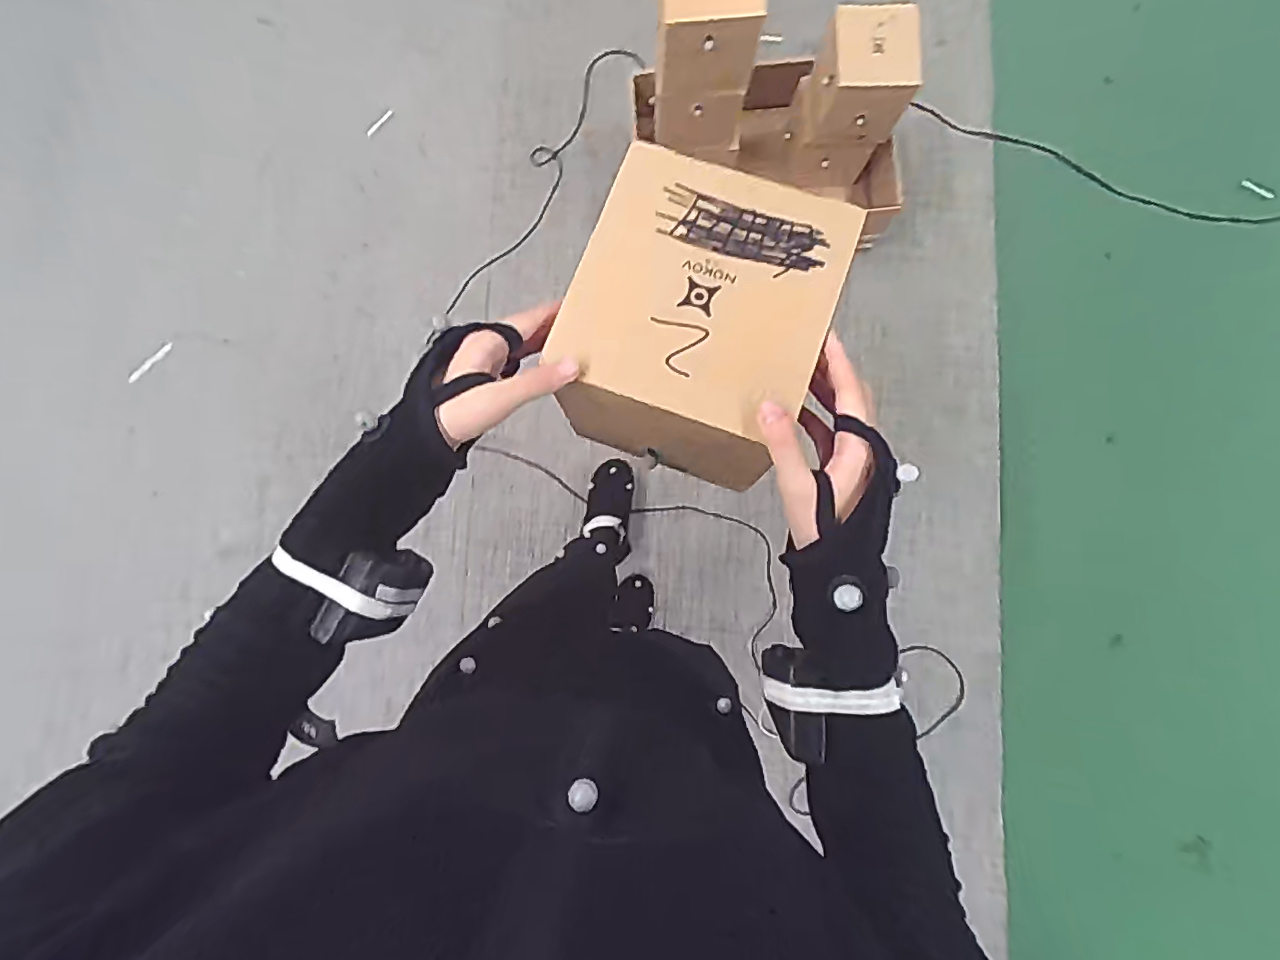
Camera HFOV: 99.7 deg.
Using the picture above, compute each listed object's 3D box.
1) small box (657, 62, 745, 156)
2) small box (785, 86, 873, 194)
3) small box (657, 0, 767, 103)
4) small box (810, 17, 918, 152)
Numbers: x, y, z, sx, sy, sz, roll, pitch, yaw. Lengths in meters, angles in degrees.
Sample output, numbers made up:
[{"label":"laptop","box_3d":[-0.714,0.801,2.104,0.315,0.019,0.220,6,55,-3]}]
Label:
[{"label":"small box","box_3d":[0.125,-0.830,1.167,0.179,0.176,0.168,0,87,-1]},{"label":"small box","box_3d":[0.460,-0.829,1.330,0.179,0.176,0.168,0,85,1]},{"label":"small box","box_3d":[0.126,-0.842,1.006,0.179,0.176,0.168,-5,87,0]},{"label":"small box","box_3d":[0.475,-0.842,1.166,0.168,0.176,0.179,0,84,-1]}]
